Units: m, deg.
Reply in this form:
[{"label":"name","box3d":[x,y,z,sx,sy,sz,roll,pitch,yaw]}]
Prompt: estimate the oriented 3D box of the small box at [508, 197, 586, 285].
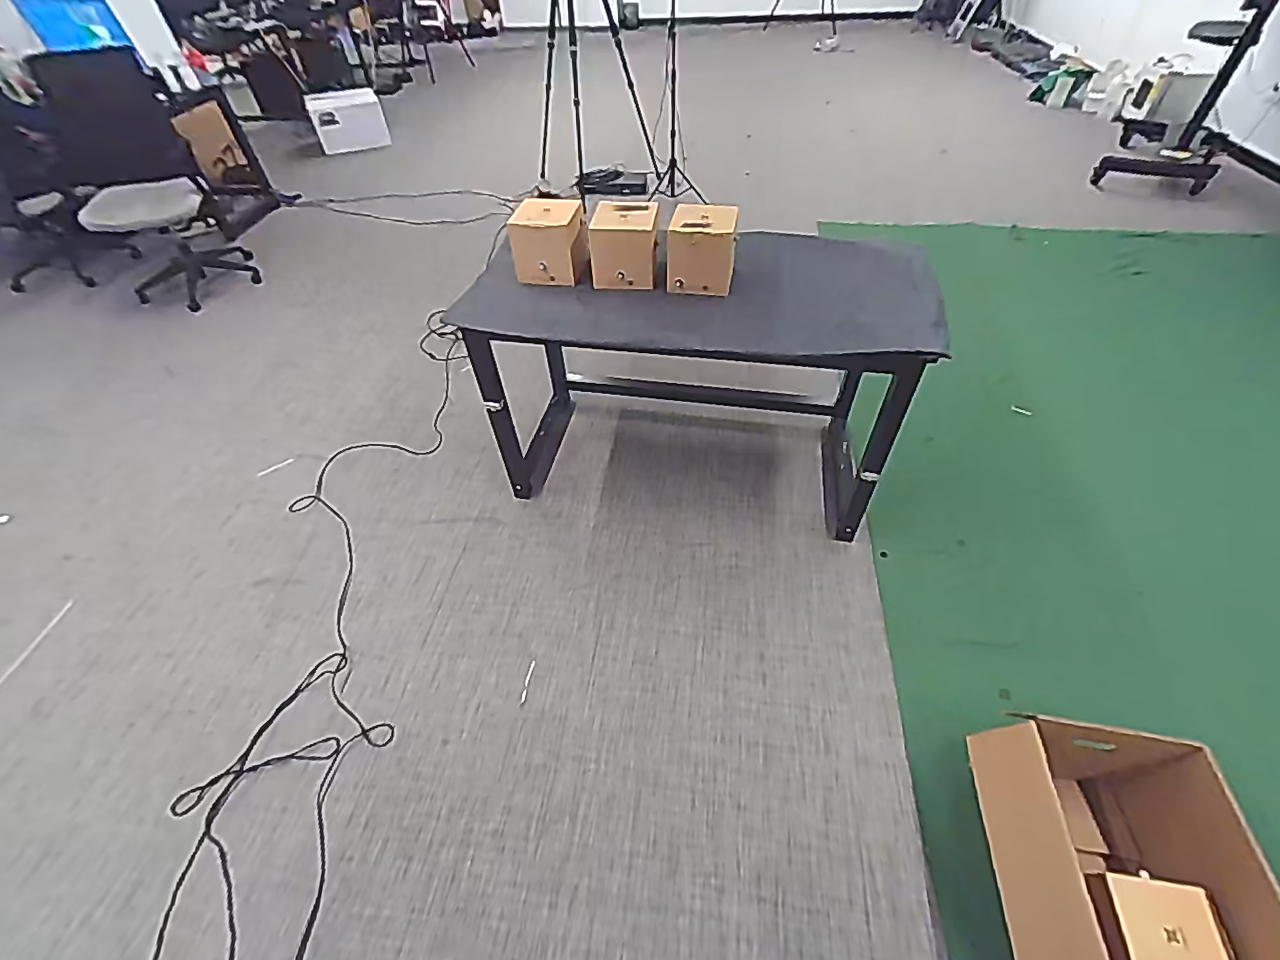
[{"label":"small box","box3d":[-0.250,-0.668,1.507,0.168,0.176,0.179,5,48,8]}]
